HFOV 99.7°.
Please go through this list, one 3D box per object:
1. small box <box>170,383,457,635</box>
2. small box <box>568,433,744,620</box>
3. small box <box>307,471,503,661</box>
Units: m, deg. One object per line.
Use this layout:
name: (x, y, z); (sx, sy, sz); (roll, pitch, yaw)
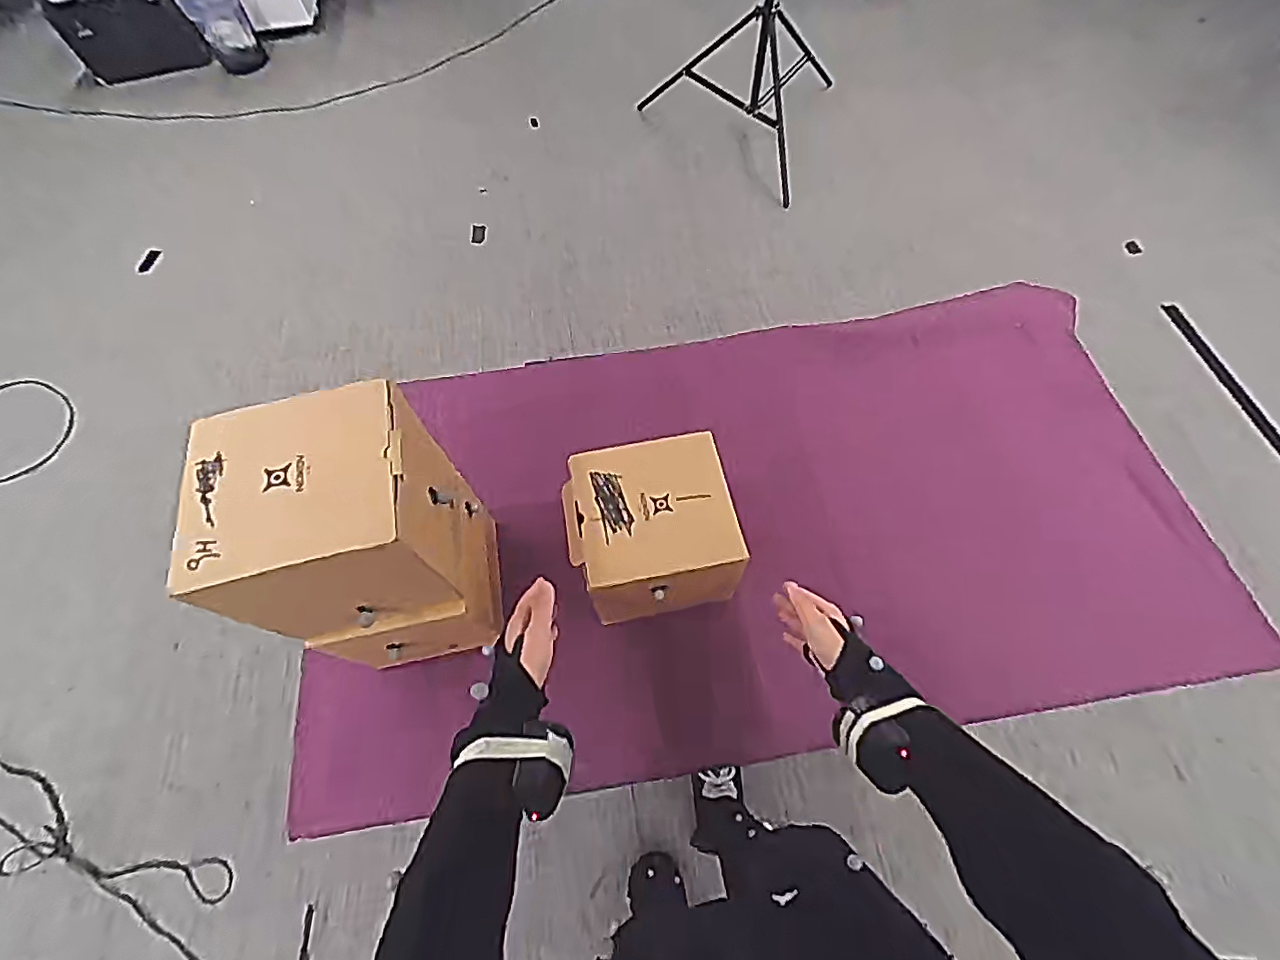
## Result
small box: (-0.286, 0.036, 0.520); (0.179, 0.176, 0.168); (-13, 63, -5)
small box: (0.016, 0.066, 0.676); (0.179, 0.176, 0.168); (-10, 63, -4)
small box: (-0.274, 0.115, 0.663); (0.168, 0.176, 0.179); (-12, 63, -4)
